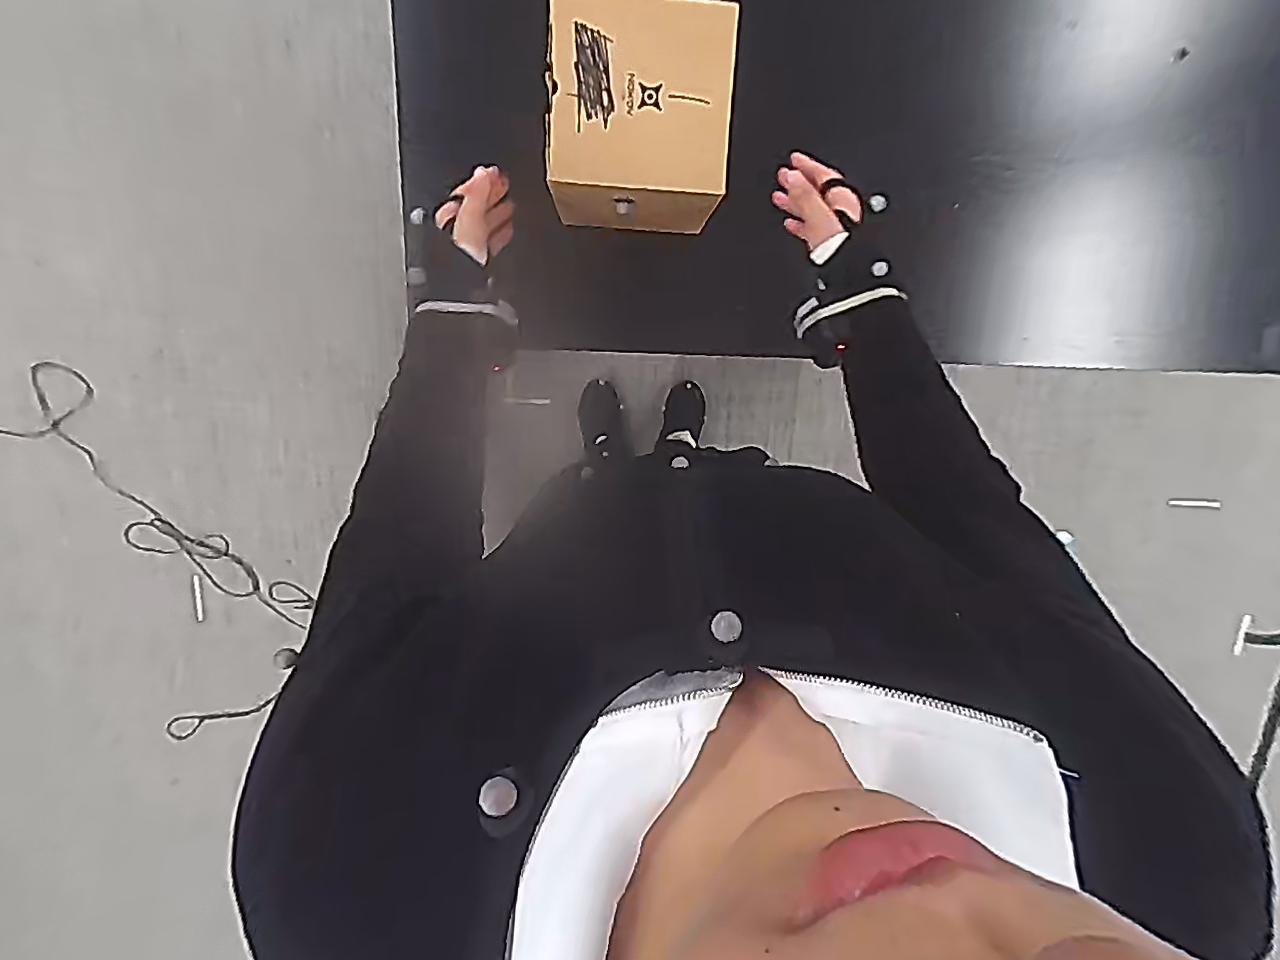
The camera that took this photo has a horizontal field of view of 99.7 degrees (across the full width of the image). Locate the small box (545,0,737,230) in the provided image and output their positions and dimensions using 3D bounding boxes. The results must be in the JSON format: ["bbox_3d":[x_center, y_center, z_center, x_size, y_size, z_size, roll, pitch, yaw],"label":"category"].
[{"bbox_3d":[-0.004,-0.384,0.592,0.179,0.176,0.168,2,102,-4],"label":"small box"}]
